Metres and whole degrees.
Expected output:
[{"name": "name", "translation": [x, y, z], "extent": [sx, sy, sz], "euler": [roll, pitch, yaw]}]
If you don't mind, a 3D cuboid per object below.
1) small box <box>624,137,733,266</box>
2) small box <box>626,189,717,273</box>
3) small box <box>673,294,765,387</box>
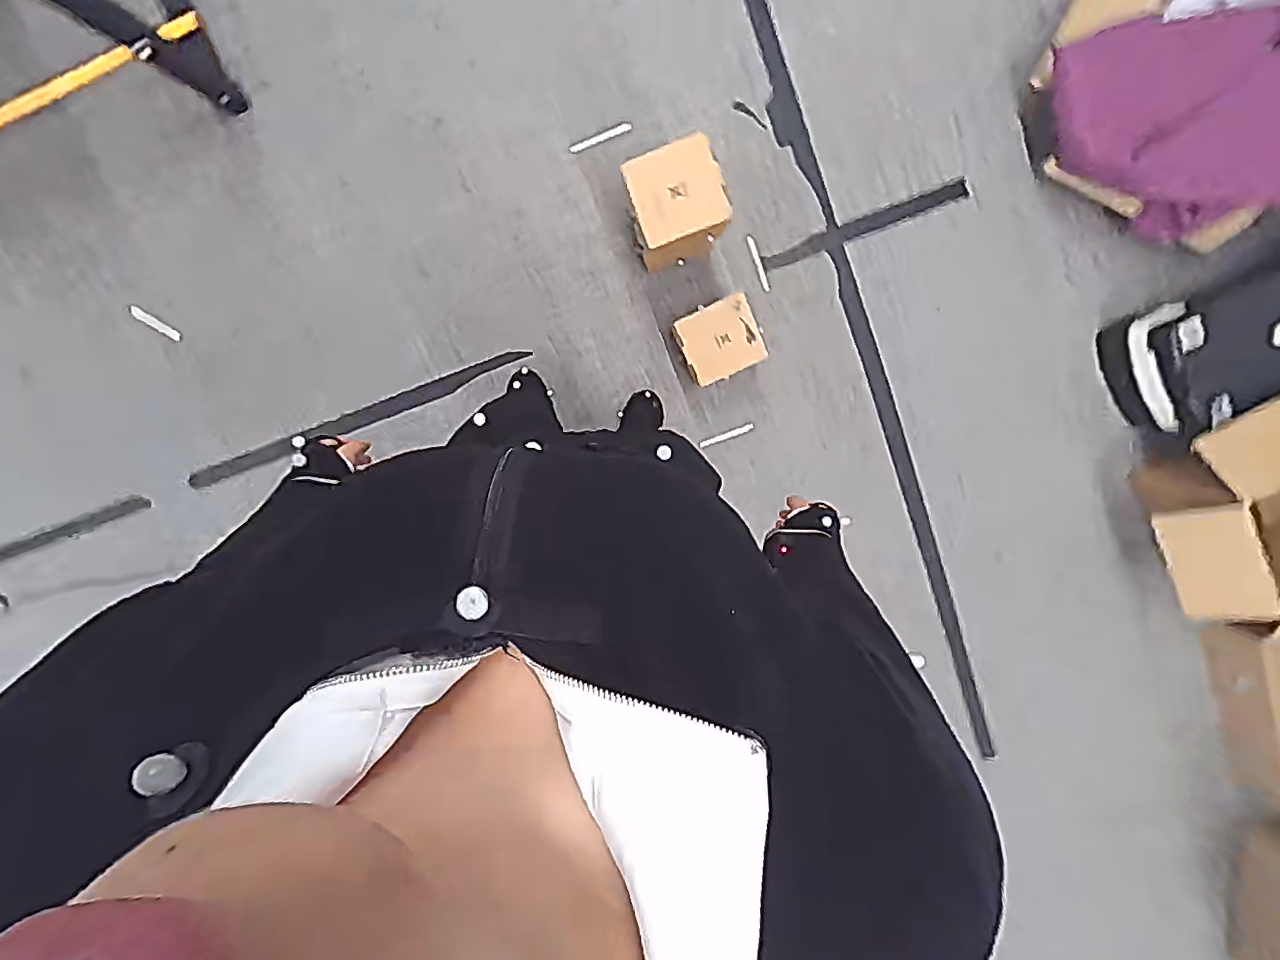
[{"name": "small box", "translation": [0.078, -0.571, 1.132], "extent": [0.179, 0.176, 0.168], "euler": [-20, 99, 6]}, {"name": "small box", "translation": [0.074, -0.609, 1.290], "extent": [0.168, 0.176, 0.179], "euler": [-19, 100, 5]}, {"name": "small box", "translation": [0.191, -0.341, 1.346], "extent": [0.179, 0.176, 0.168], "euler": [-23, 100, 6]}]
